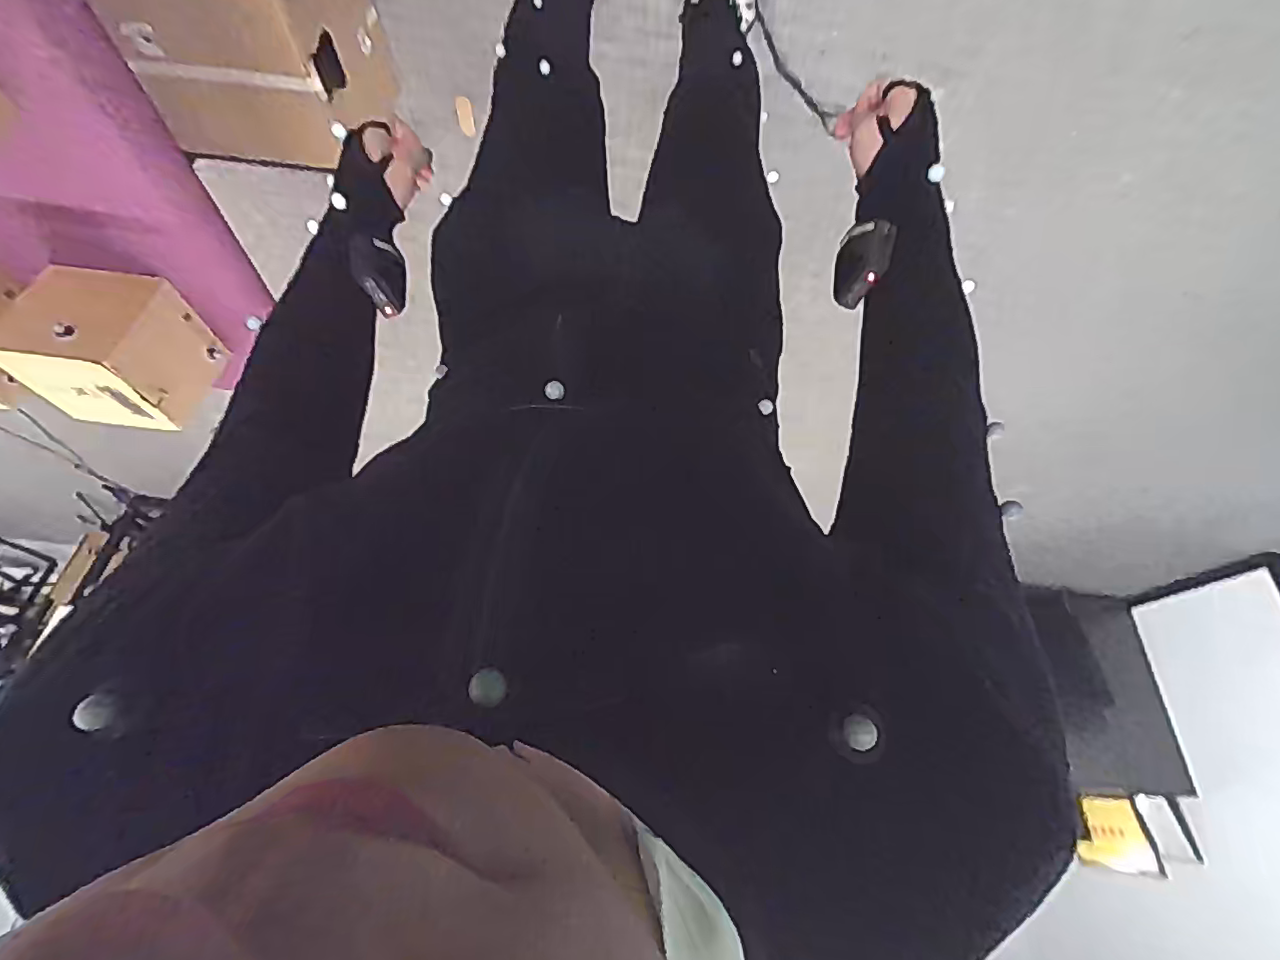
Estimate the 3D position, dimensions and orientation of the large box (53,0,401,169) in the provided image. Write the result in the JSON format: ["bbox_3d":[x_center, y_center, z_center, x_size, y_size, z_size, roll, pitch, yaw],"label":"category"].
[{"bbox_3d":[-0.741,-0.845,1.021,0.408,0.320,0.320,7,150,1],"label":"large box"}]

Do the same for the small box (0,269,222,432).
[{"bbox_3d":[-0.790,-0.196,0.825,0.179,0.176,0.168,8,150,0],"label":"small box"}]
